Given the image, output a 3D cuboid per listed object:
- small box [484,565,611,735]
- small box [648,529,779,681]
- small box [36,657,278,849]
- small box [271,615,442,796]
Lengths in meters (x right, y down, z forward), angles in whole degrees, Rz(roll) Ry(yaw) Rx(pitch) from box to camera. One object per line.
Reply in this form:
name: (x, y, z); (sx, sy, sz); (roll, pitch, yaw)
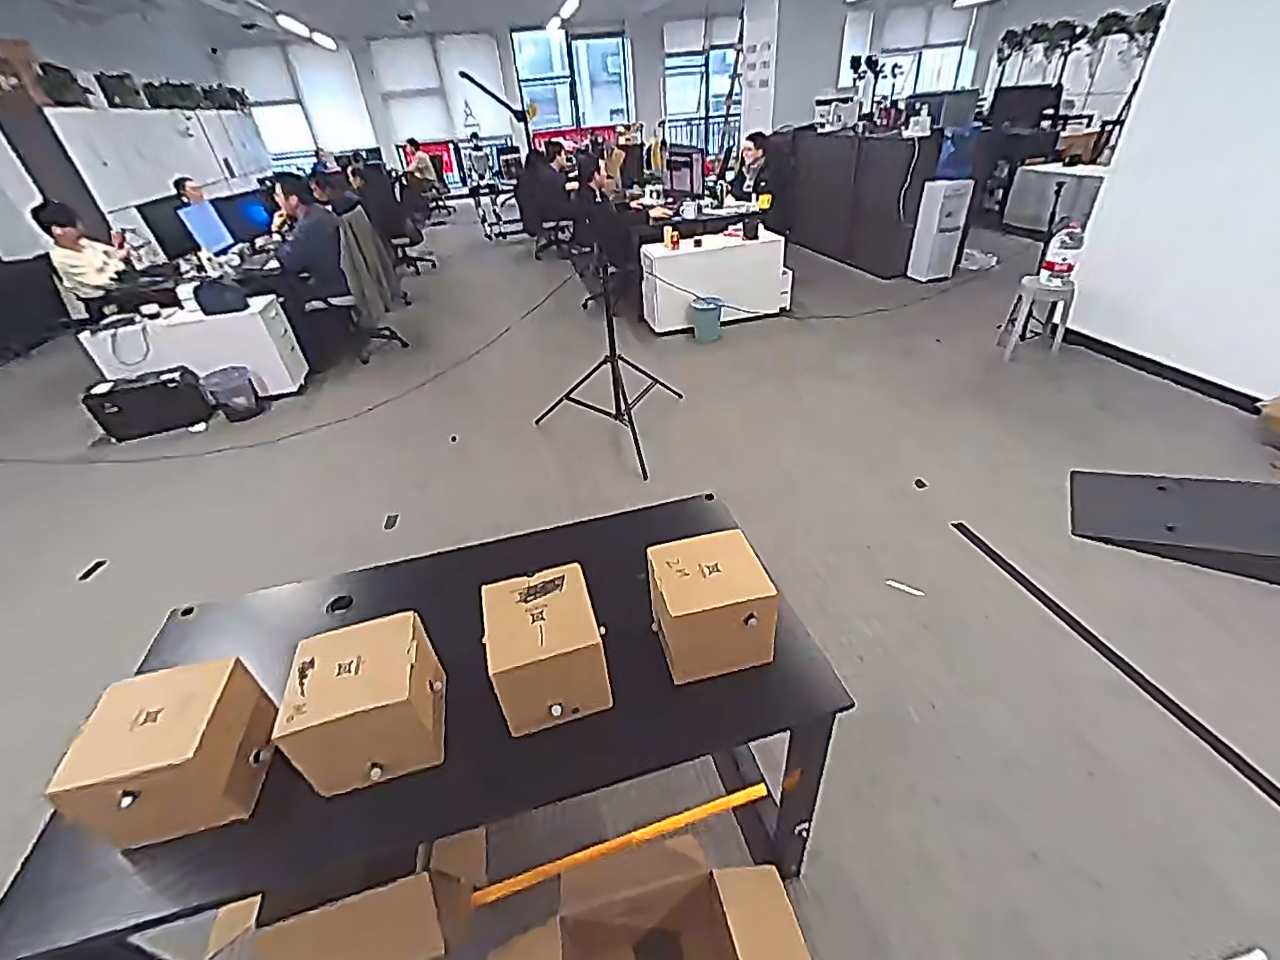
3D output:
small box: (-0.151, 0.273, 0.879); (0.168, 0.176, 0.179); (-13, 36, -11)
small box: (0.118, 0.213, 0.926); (0.179, 0.176, 0.168); (-11, 34, -8)
small box: (-0.662, 0.391, 0.775); (0.179, 0.176, 0.168); (-11, 36, -10)
small box: (-0.408, 0.338, 0.818); (0.179, 0.176, 0.168); (-12, 35, -11)
